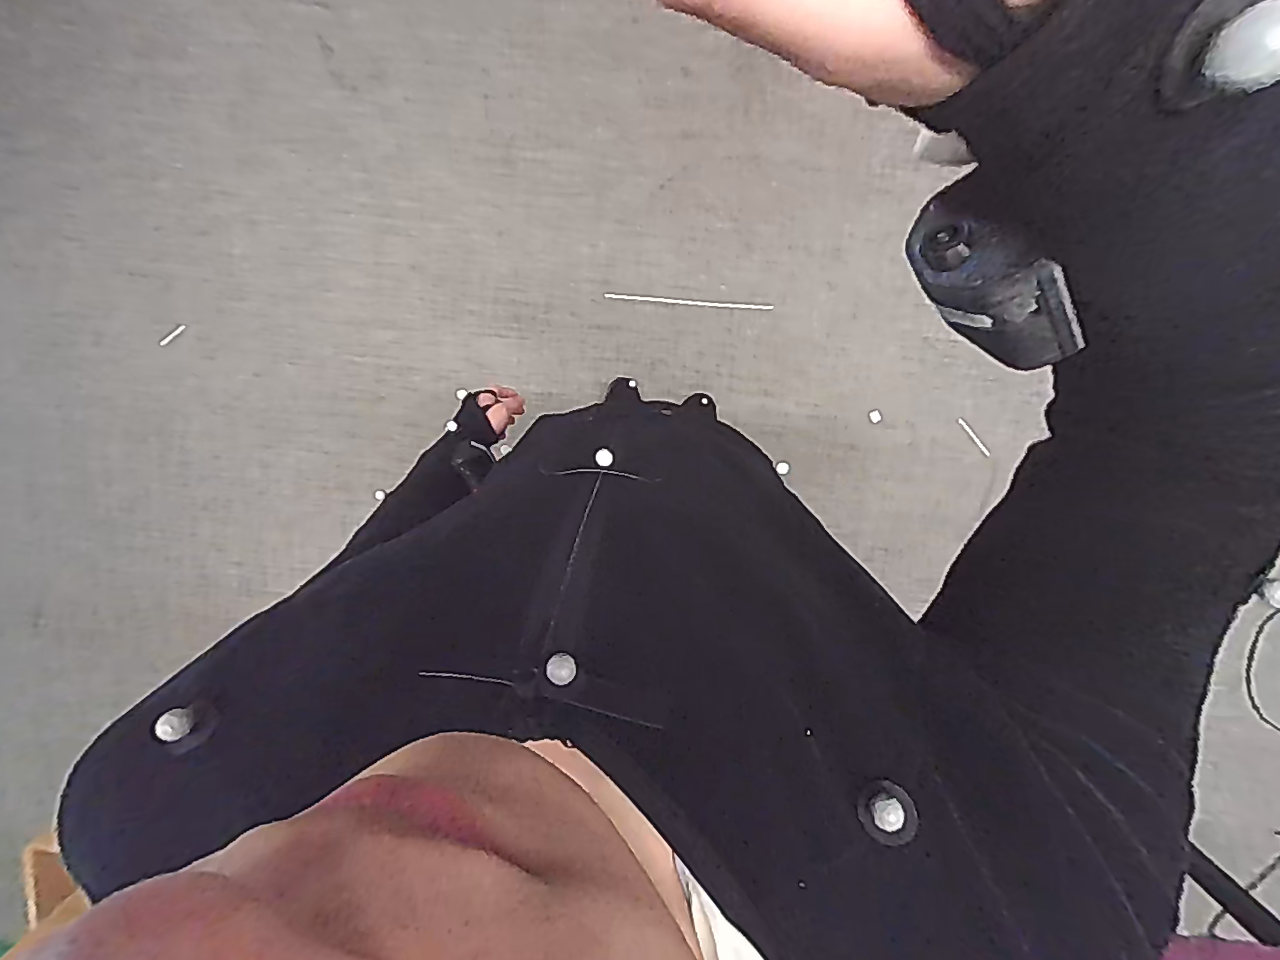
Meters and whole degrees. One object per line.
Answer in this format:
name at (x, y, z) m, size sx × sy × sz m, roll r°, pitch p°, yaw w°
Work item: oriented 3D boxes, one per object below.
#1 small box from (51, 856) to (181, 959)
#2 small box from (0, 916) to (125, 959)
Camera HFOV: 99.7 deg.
small box at (-1.328, 1.105, 1.380) m, size 0.179 × 0.176 × 0.168 m, roll 7°, pitch 101°, yaw 0°
small box at (-1.329, 1.133, 1.222) m, size 0.179 × 0.176 × 0.168 m, roll 7°, pitch 99°, yaw -1°
